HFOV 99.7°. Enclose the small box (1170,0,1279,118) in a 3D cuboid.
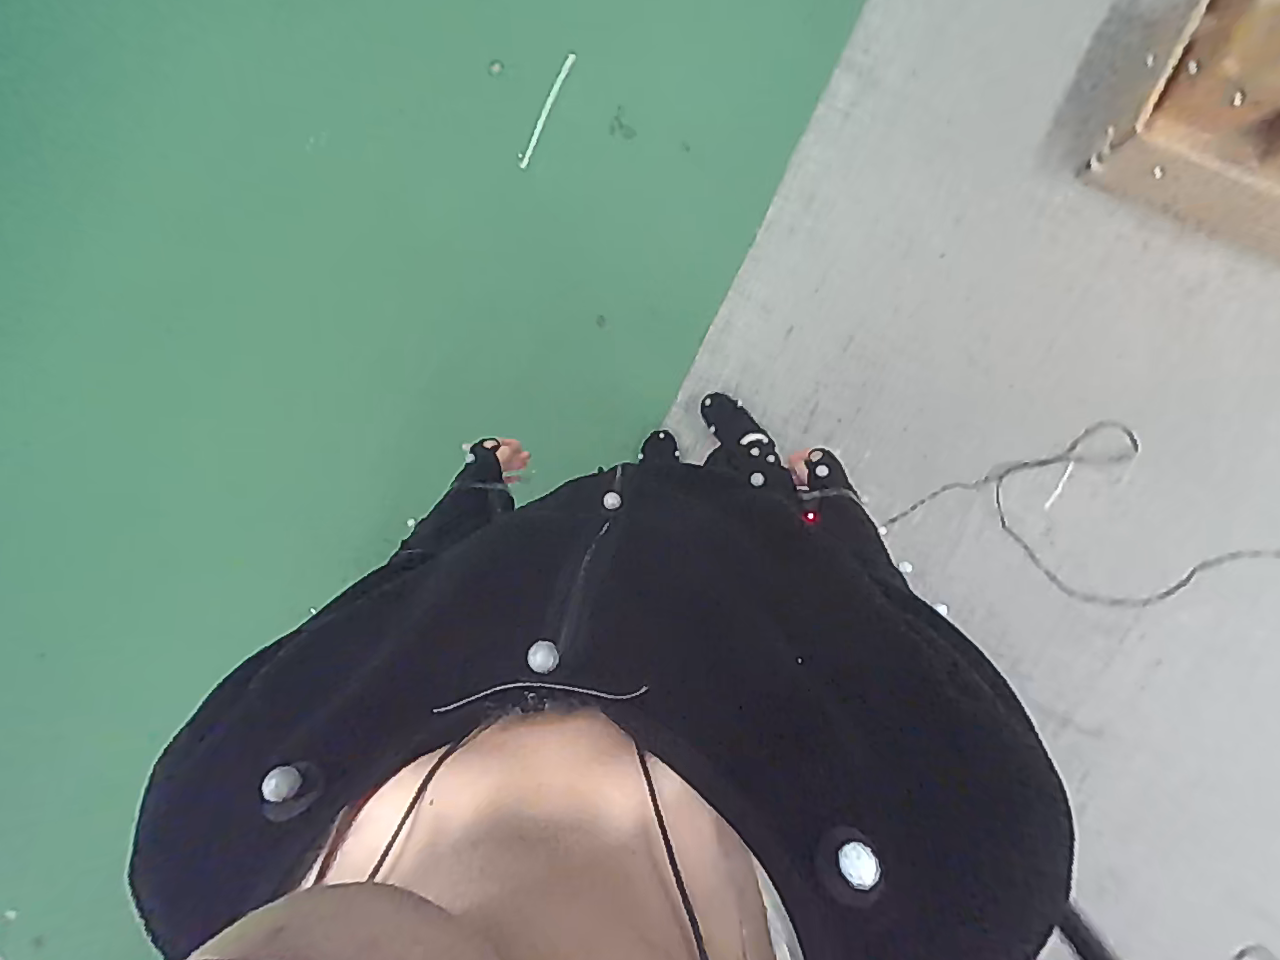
[{"bbox_3d":[1.295,-0.903,1.135,0.179,0.176,0.168,21,100,3],"label":"small box"}]
